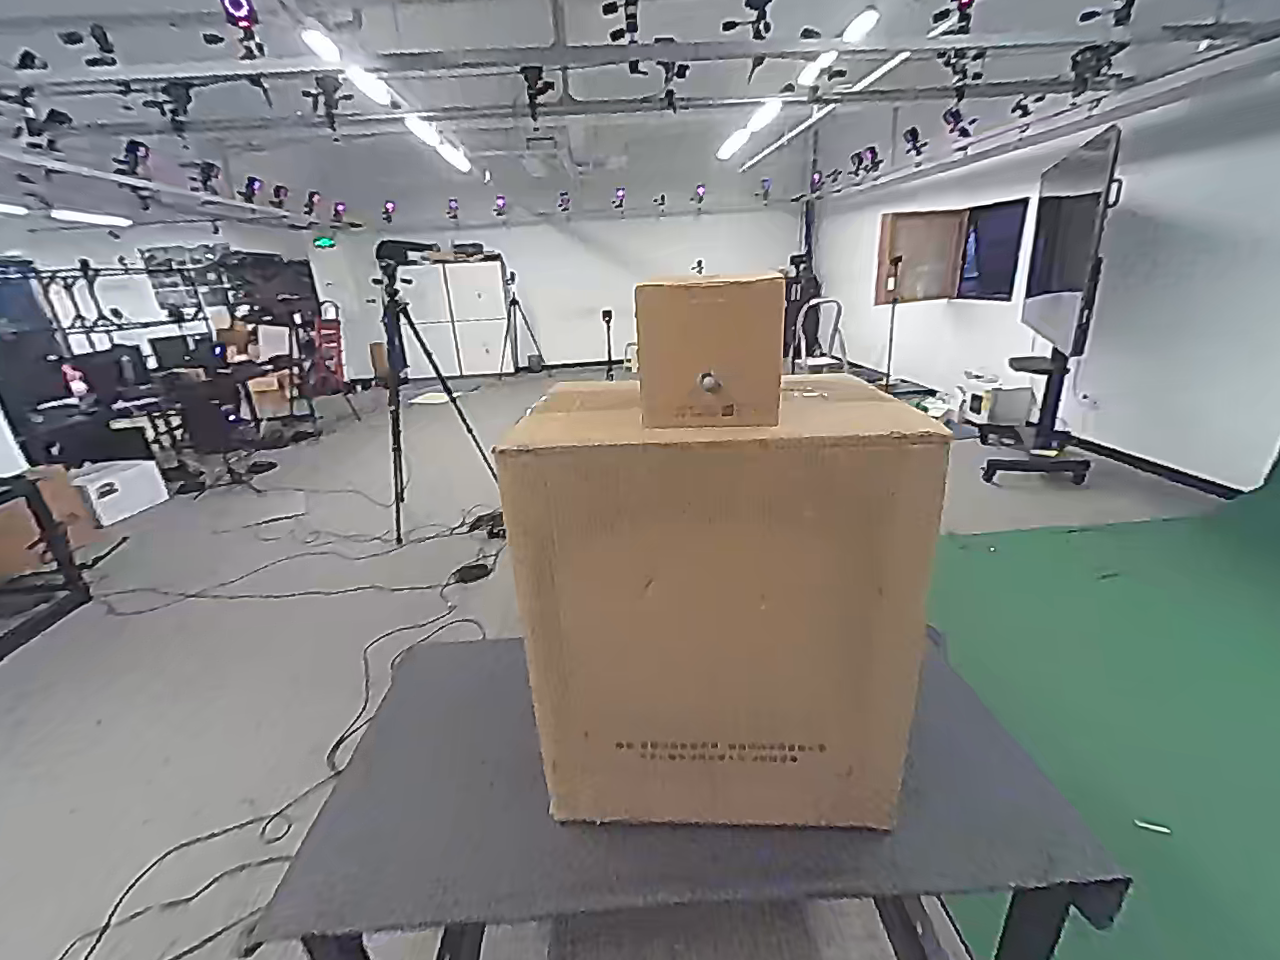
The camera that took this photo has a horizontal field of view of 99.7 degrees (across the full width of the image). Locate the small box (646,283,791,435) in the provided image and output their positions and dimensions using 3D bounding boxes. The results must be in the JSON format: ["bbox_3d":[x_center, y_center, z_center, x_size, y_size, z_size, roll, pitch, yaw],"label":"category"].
[{"bbox_3d":[0.100,-0.164,0.712,0.168,0.176,0.179,0,23,8],"label":"small box"}]
